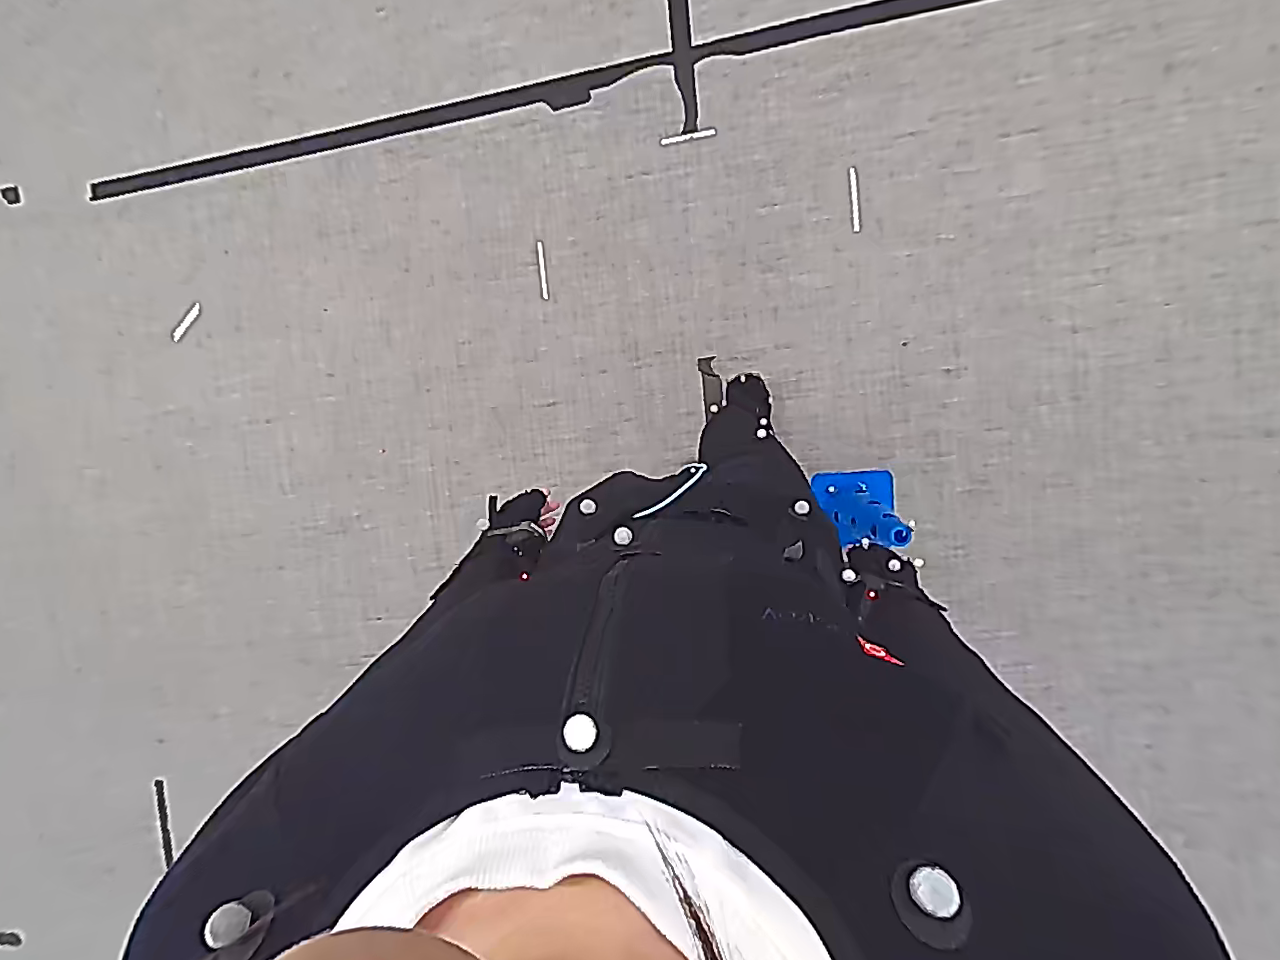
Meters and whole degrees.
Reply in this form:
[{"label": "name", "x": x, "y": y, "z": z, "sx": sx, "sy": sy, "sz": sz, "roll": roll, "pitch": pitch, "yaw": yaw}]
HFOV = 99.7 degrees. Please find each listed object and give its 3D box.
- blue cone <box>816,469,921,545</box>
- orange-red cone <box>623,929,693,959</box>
[{"label": "blue cone", "x": 0.524, "y": 0.082, "z": 1.205, "sx": 0.192, "sy": 0.380, "sz": 0.193, "roll": -1, "pitch": 94, "yaw": 7}, {"label": "orange-red cone", "x": 0.025, "y": 1.381, "z": 1.357, "sx": 0.199, "sy": 0.360, "sz": 0.198, "roll": 0, "pitch": 93, "yaw": 9}]
